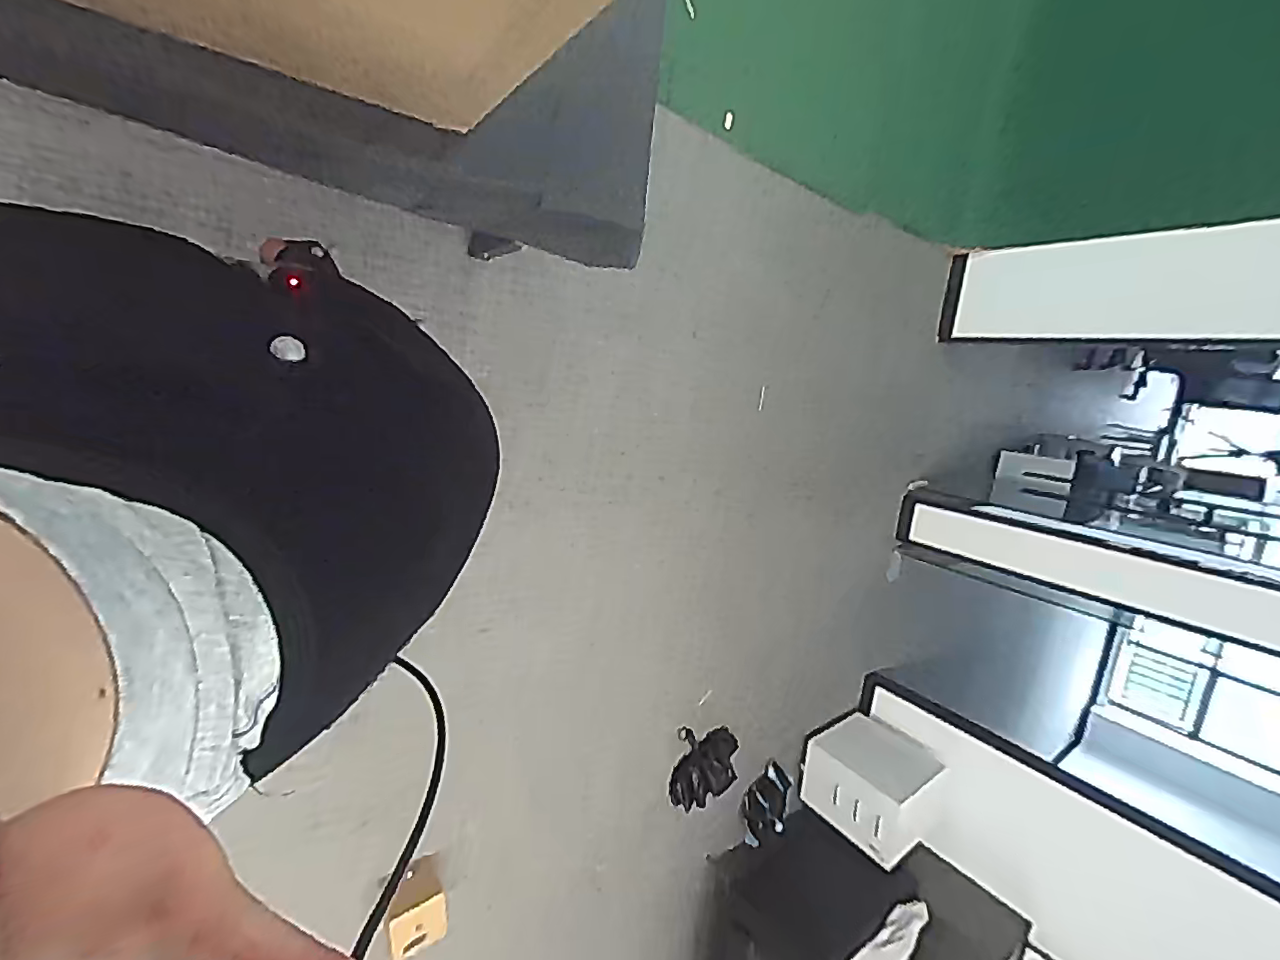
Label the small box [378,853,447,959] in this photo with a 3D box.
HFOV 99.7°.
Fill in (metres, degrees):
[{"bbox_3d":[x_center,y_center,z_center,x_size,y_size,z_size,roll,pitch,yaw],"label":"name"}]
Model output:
[{"bbox_3d":[-0.735,1.368,1.748,0.168,0.176,0.179,-9,107,-37],"label":"small box"}]
